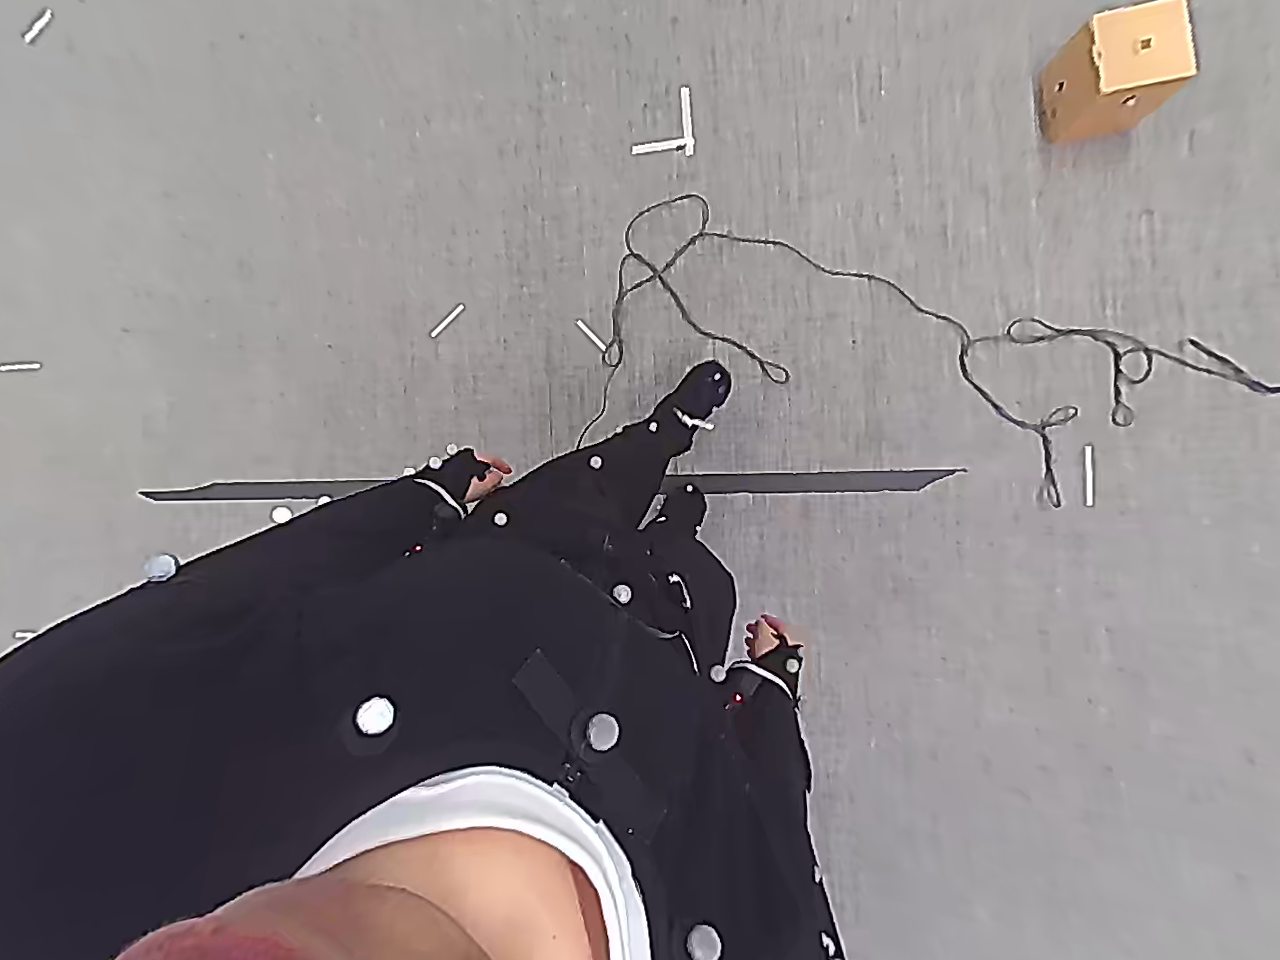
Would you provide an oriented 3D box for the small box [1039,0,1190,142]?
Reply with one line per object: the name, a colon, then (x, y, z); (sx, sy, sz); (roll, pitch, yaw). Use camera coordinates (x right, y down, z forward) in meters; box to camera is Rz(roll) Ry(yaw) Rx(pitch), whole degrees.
small box: (1.010, -0.871, 1.164); (0.179, 0.176, 0.168); (-8, 89, 8)
